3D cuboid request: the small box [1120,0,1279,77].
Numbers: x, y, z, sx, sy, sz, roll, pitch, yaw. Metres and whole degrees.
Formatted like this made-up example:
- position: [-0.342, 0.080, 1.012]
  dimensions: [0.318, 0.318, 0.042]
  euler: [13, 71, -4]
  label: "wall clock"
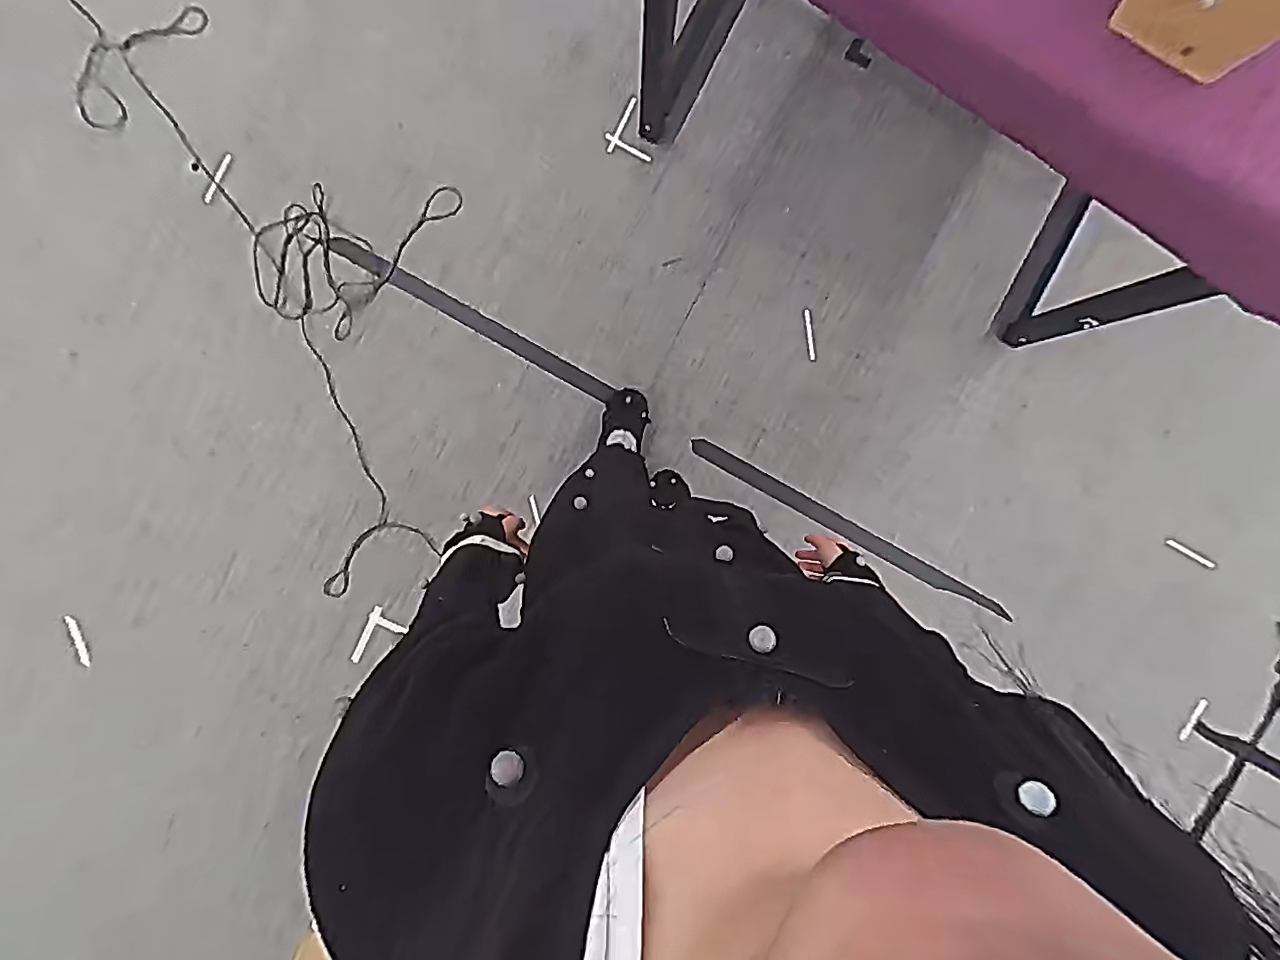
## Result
- position: [0.759, -0.659, 0.666]
  dimensions: [0.168, 0.176, 0.179]
  euler: [28, 92, -3]
  label: "small box"
